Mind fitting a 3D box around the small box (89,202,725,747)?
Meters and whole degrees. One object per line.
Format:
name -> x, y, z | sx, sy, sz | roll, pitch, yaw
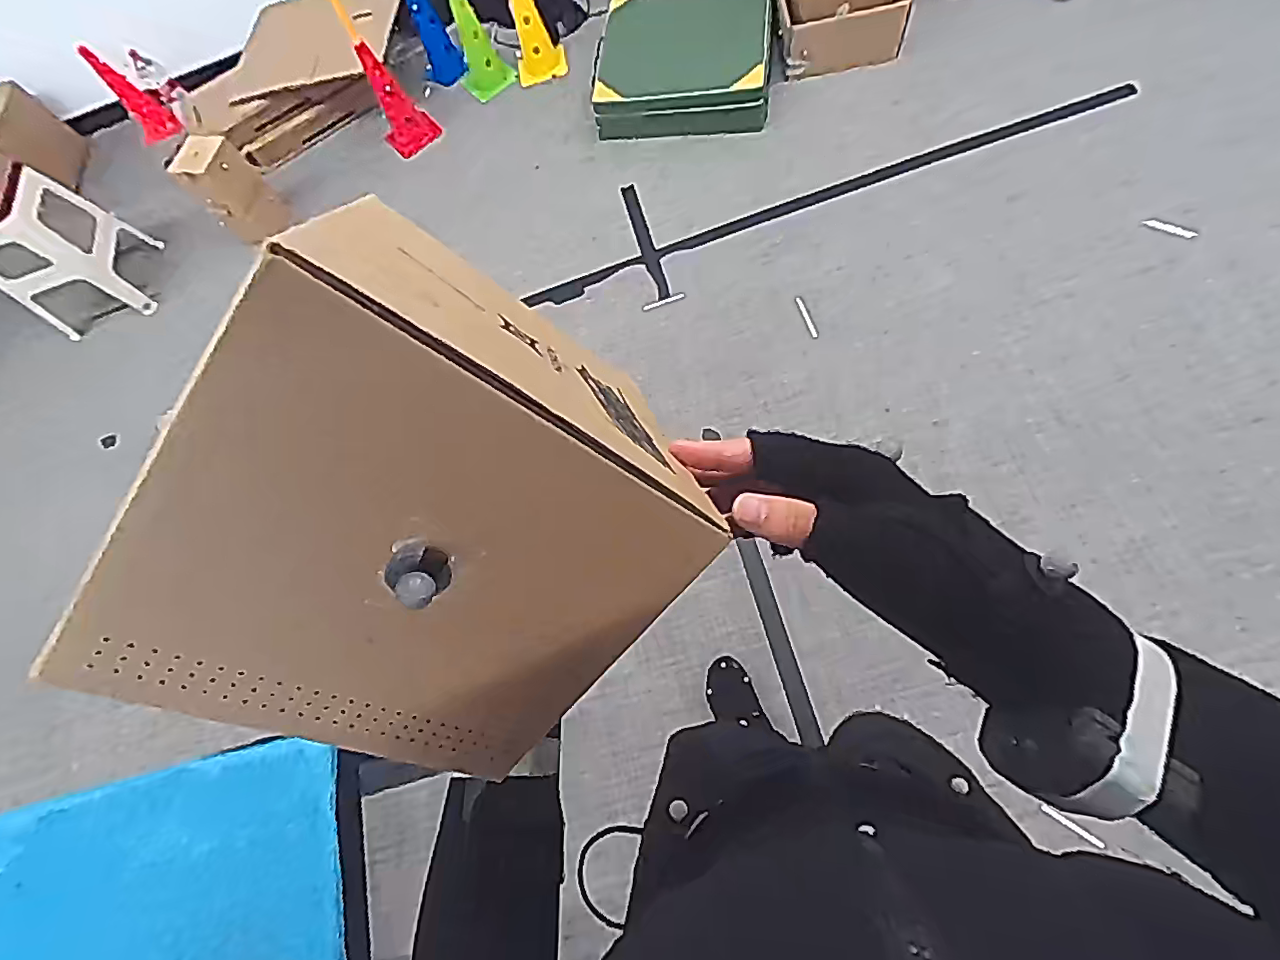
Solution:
small box -> -0.096, 0.000, 0.268 | 0.176, 0.179, 0.168 | -50, 30, 15
